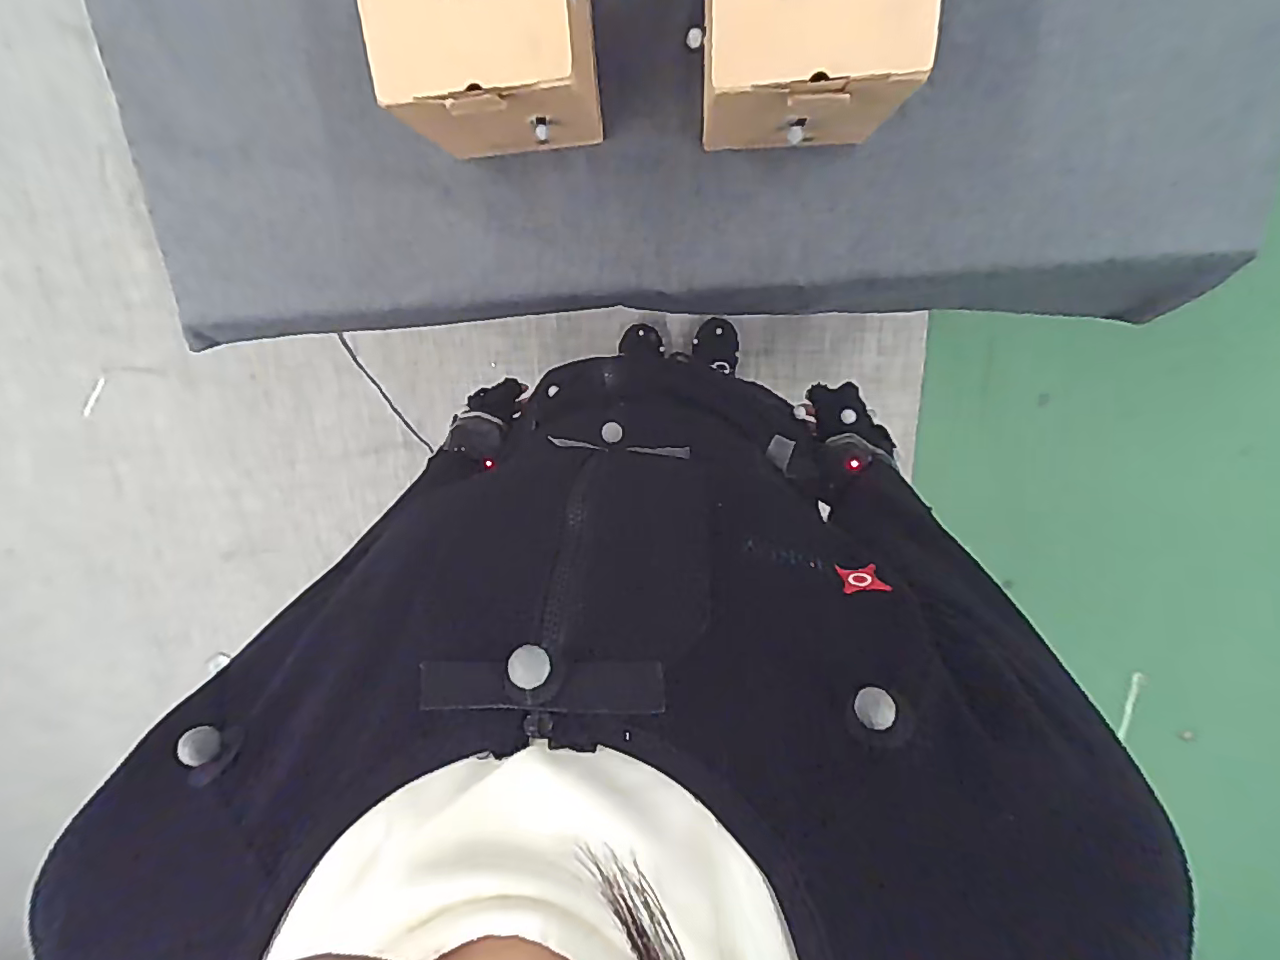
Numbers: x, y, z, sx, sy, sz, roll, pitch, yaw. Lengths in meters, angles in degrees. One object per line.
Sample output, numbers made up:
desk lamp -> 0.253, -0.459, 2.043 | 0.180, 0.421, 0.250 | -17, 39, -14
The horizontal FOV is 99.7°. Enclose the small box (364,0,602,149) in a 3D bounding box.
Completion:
small box -> -0.131, -0.421, 0.489 | 0.168, 0.176, 0.179 | -4, 106, 5
